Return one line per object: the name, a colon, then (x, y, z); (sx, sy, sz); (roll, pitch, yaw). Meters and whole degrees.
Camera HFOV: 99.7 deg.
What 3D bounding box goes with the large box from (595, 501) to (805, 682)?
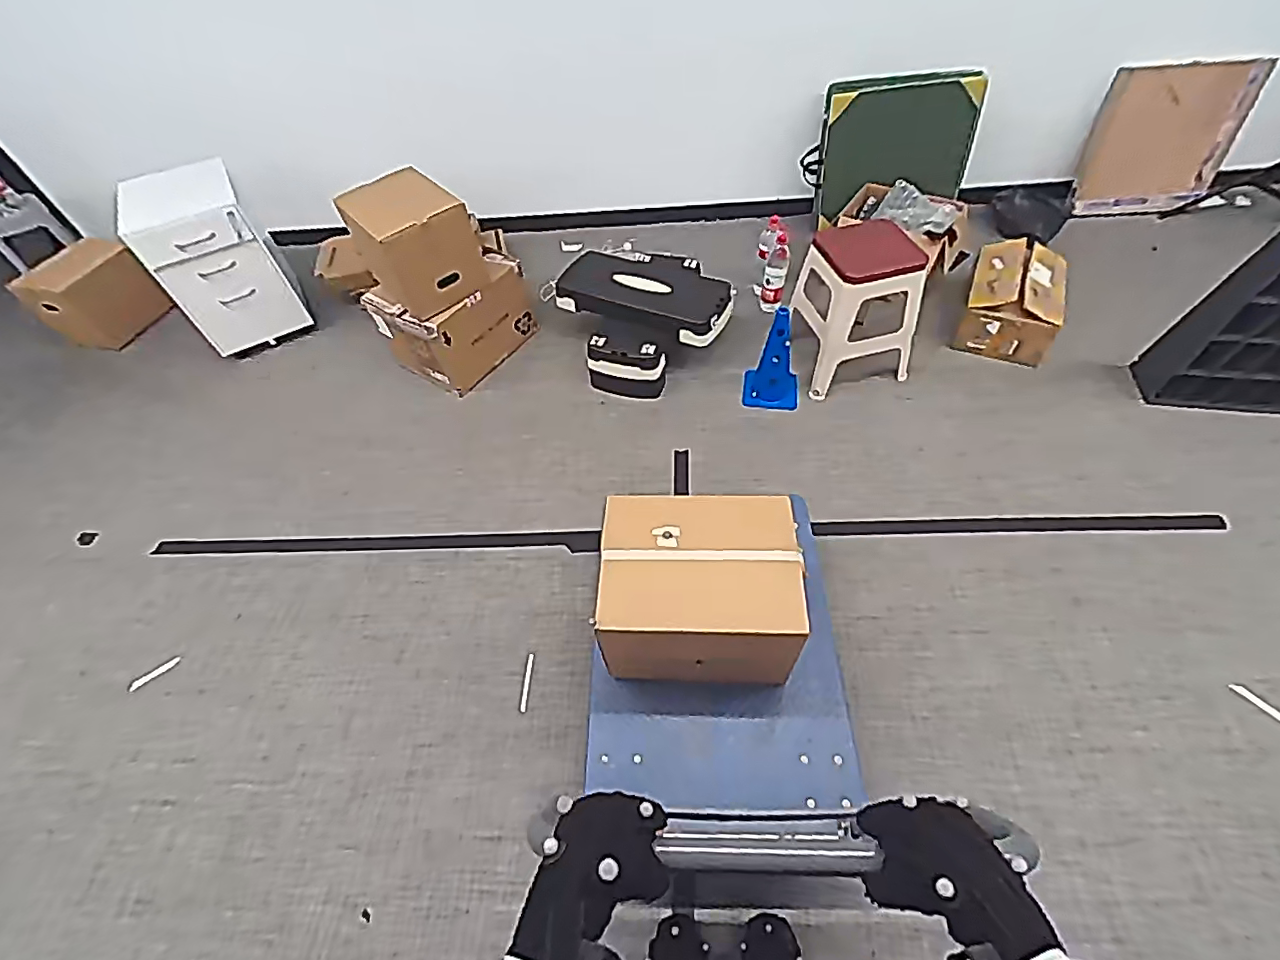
large box: (0.129, 0.261, 1.226); (0.408, 0.320, 0.320); (-1, 53, 5)
